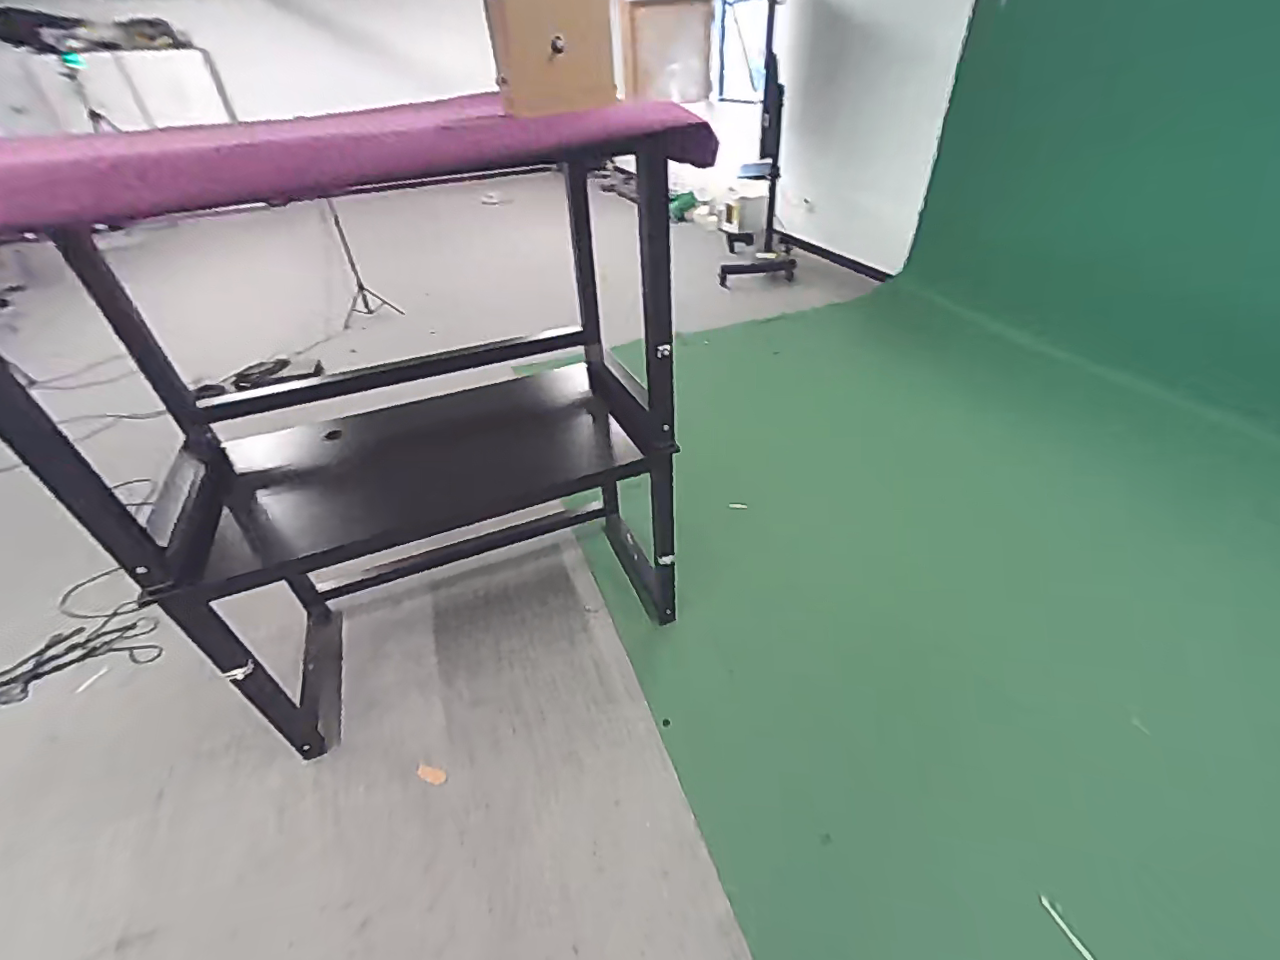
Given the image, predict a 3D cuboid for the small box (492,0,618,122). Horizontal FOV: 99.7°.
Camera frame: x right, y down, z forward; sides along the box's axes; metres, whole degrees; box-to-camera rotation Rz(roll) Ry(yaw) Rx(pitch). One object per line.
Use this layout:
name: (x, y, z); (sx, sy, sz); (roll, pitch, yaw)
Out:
small box: (-0.142, -0.737, 0.939); (0.179, 0.176, 0.168); (-17, 40, -14)
